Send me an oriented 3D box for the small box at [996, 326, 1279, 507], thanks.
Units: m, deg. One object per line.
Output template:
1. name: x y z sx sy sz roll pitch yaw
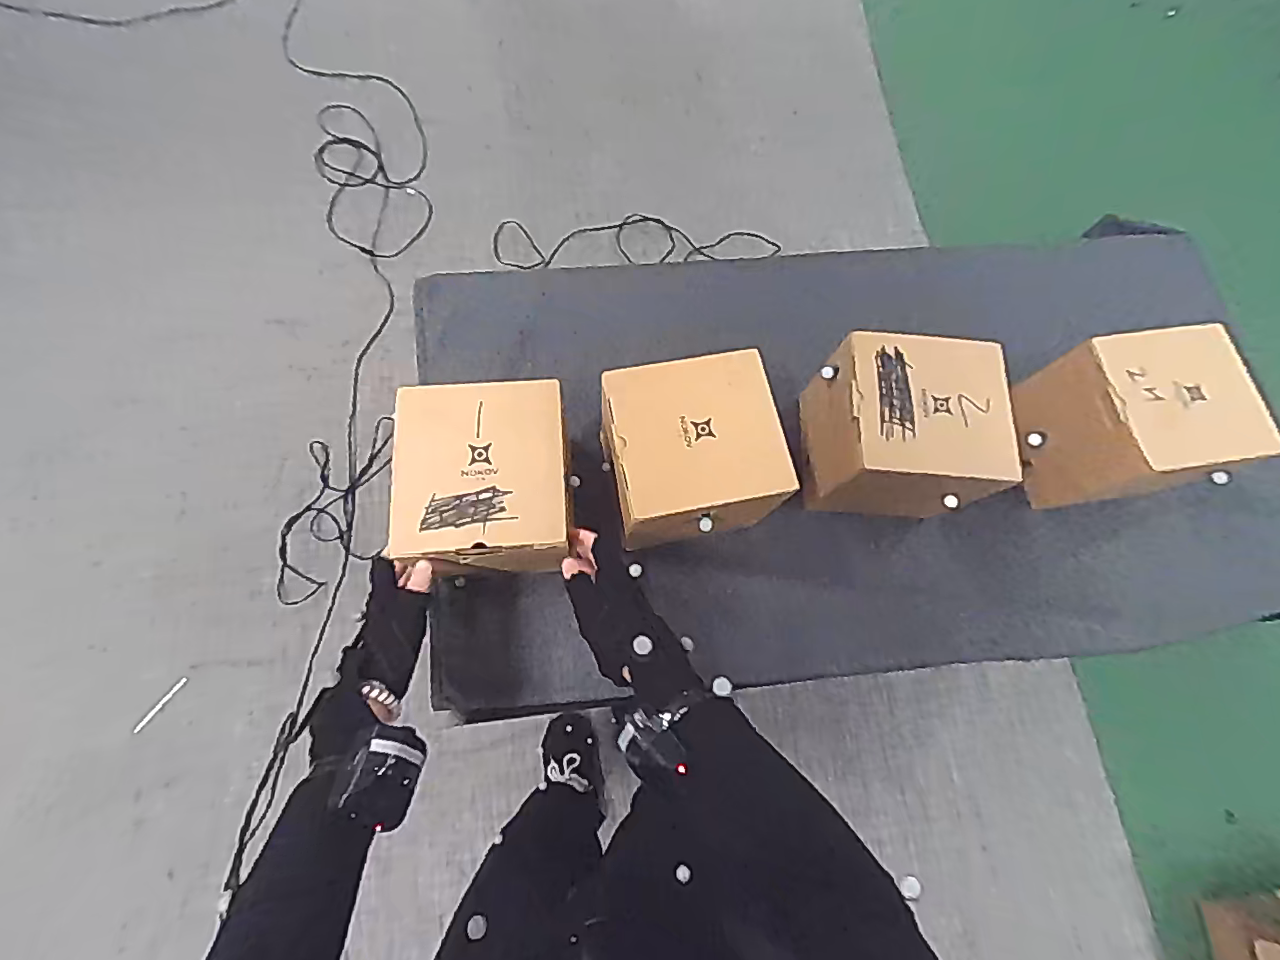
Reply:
1. small box: 0.606 -0.072 0.683 0.179 0.176 0.168 -7 73 -6

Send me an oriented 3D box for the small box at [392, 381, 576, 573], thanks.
1. small box: -0.159 0.007 0.603 0.168 0.176 0.179 -3 72 -5
